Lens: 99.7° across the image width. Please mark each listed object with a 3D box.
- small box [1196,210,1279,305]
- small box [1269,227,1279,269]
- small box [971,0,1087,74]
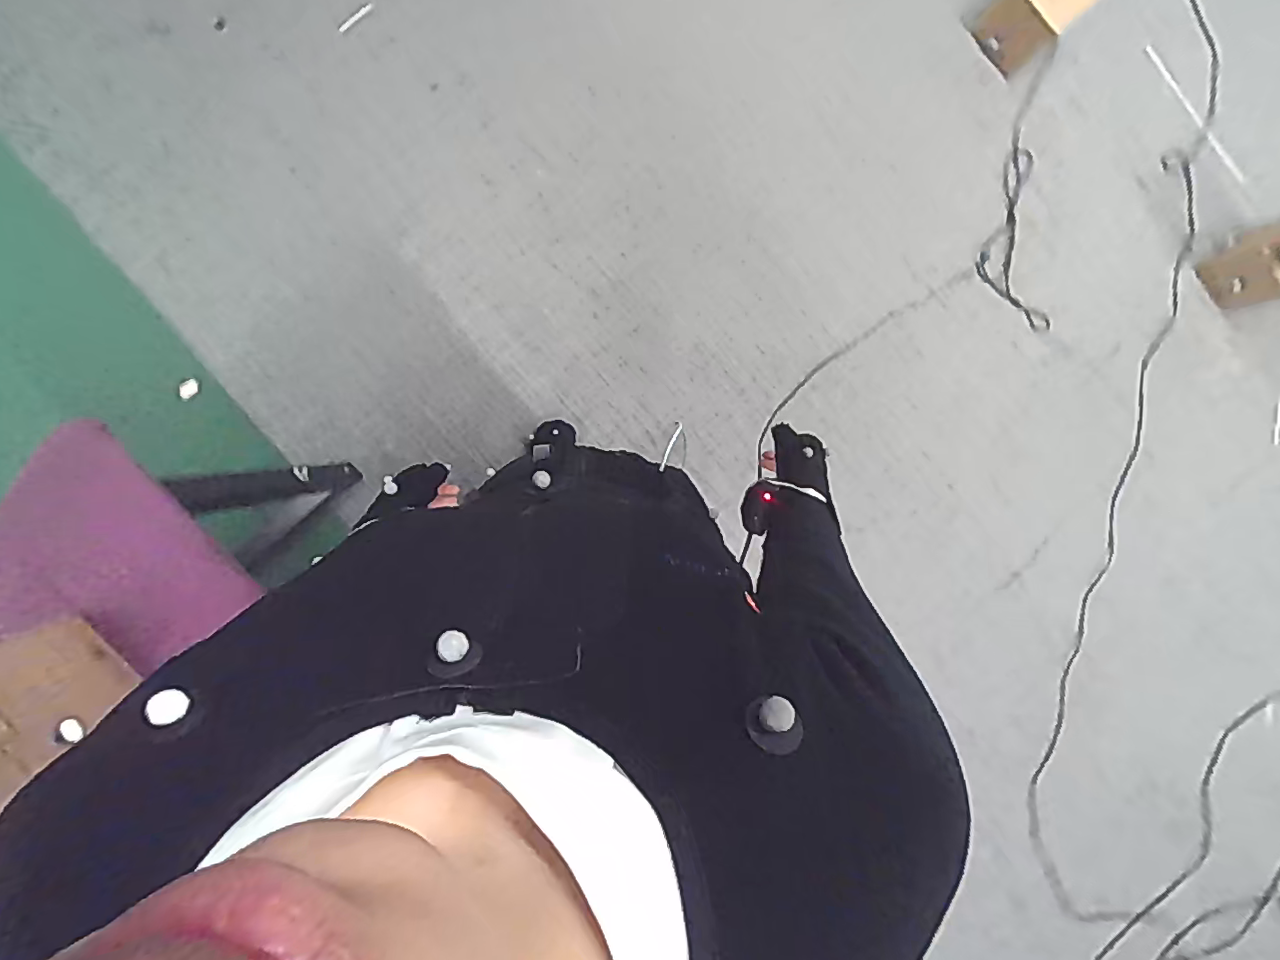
[{"bbox_3d":[1.683,-0.603,1.469,0.179,0.176,0.168,-42,98,2],"label":"small box"},{"bbox_3d":[1.699,-0.590,1.304,0.179,0.176,0.168,-39,95,-1],"label":"small box"},{"bbox_3d":[1.007,-1.214,1.389,0.179,0.176,0.168,-43,94,1],"label":"small box"}]
